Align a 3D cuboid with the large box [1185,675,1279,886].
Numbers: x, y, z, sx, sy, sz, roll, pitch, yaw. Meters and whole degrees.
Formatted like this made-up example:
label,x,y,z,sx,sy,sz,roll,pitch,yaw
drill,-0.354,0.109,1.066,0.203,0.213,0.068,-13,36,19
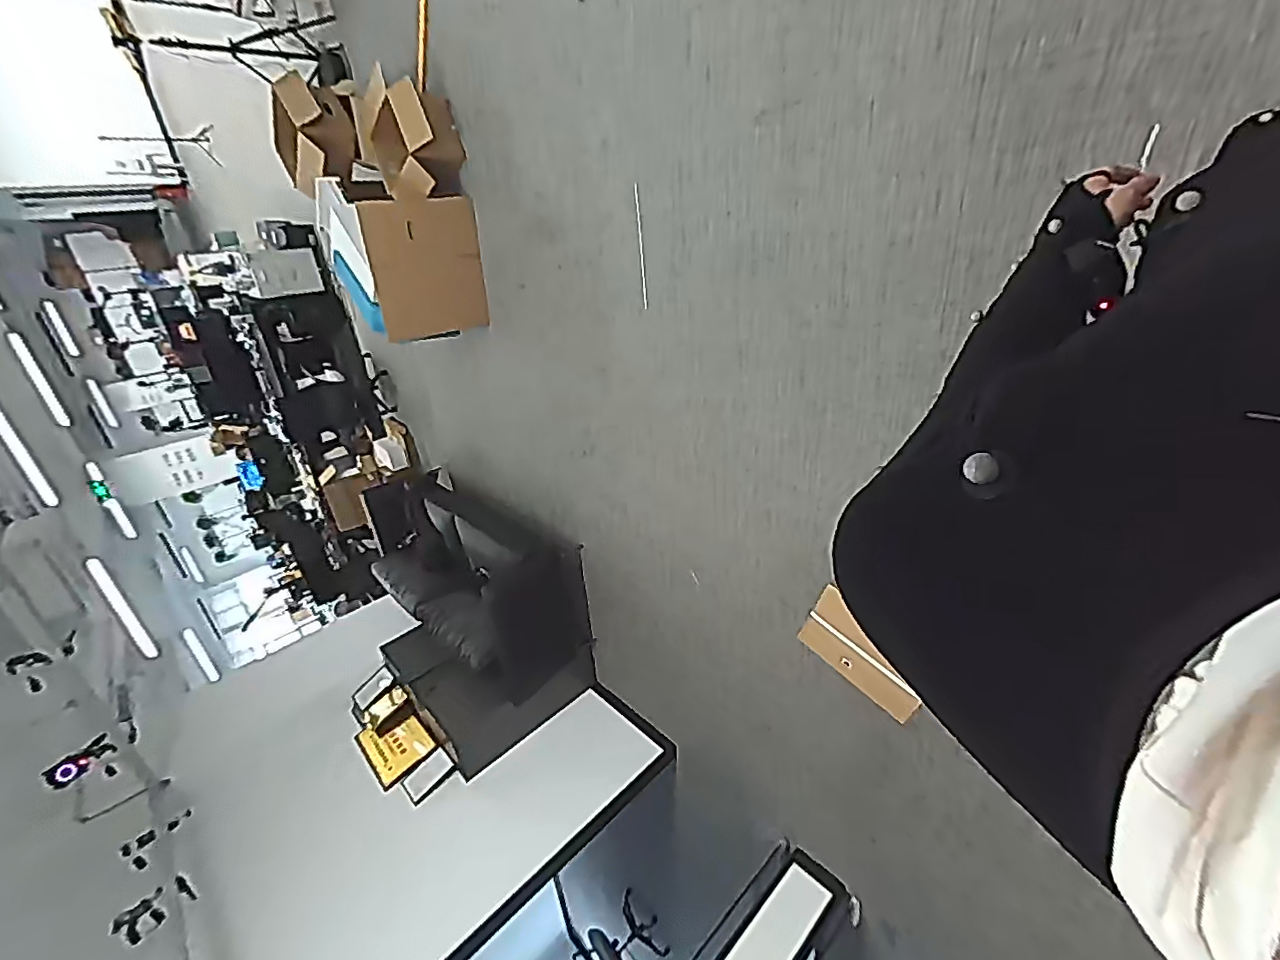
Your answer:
label,x,y,z,sx,sy,sz,roll,pitch,yaw
large box,1.455,0.617,1.101,0.408,0.320,0.320,-26,91,52
